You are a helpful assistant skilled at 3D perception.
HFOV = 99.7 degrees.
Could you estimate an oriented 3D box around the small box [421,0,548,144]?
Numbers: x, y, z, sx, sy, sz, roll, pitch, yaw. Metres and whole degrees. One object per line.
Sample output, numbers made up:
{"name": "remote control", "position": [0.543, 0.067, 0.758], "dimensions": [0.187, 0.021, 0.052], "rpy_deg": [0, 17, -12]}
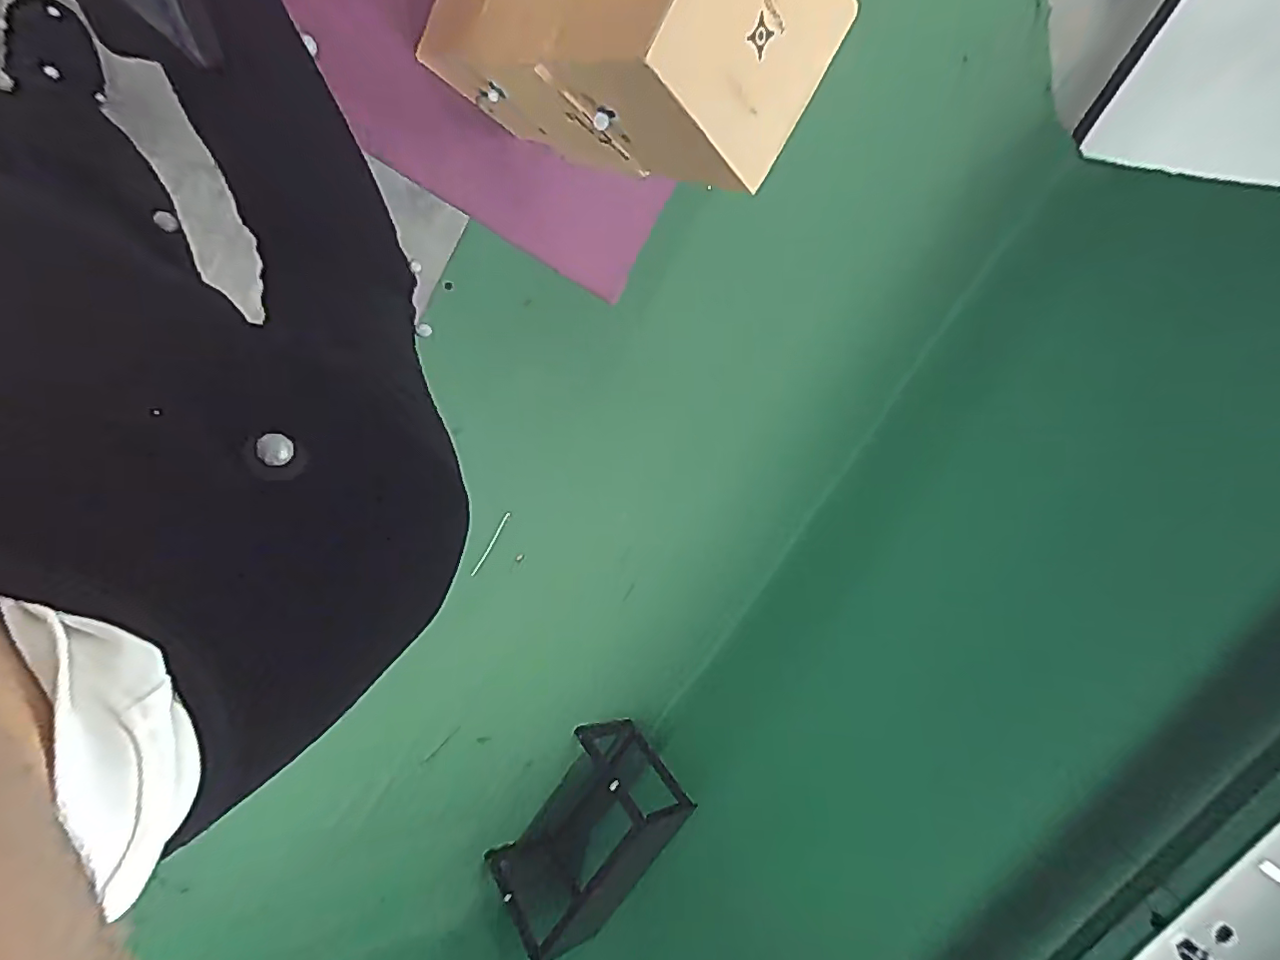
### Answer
{"name": "small box", "position": [-0.149, -0.551, 0.677], "dimensions": [0.168, 0.176, 0.179], "rpy_deg": [15, 109, -49]}

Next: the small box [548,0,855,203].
{"name": "small box", "position": [0.048, -0.385, 0.475], "dimensions": [0.168, 0.176, 0.179], "rpy_deg": [19, 106, -50]}

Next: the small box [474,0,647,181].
{"name": "small box", "position": [-0.052, -0.461, 0.578], "dimensions": [0.168, 0.176, 0.179], "rpy_deg": [17, 106, -50]}
